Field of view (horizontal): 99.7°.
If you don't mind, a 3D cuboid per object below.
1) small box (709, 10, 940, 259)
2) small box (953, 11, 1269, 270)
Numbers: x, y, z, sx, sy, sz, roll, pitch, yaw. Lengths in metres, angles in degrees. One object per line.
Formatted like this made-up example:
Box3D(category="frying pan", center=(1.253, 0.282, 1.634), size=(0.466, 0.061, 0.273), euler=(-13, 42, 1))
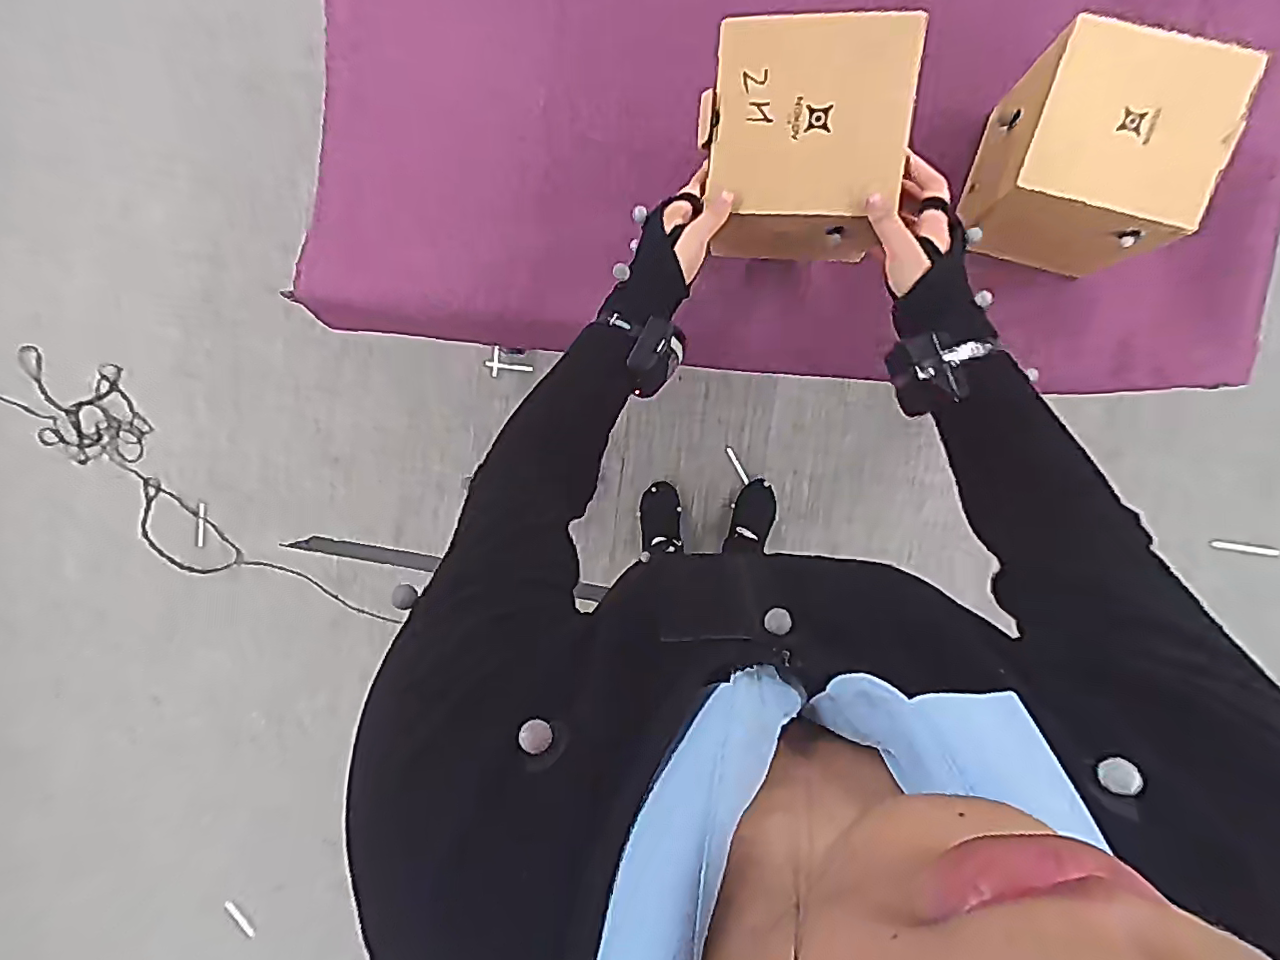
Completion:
Box3D(category="small box", center=(0.170, -0.331, 0.551), size=(0.179, 0.176, 0.168), euler=(7, 101, 10))
Box3D(category="small box", center=(0.486, -0.351, 0.594), size=(0.179, 0.176, 0.168), euler=(17, 97, 5))
